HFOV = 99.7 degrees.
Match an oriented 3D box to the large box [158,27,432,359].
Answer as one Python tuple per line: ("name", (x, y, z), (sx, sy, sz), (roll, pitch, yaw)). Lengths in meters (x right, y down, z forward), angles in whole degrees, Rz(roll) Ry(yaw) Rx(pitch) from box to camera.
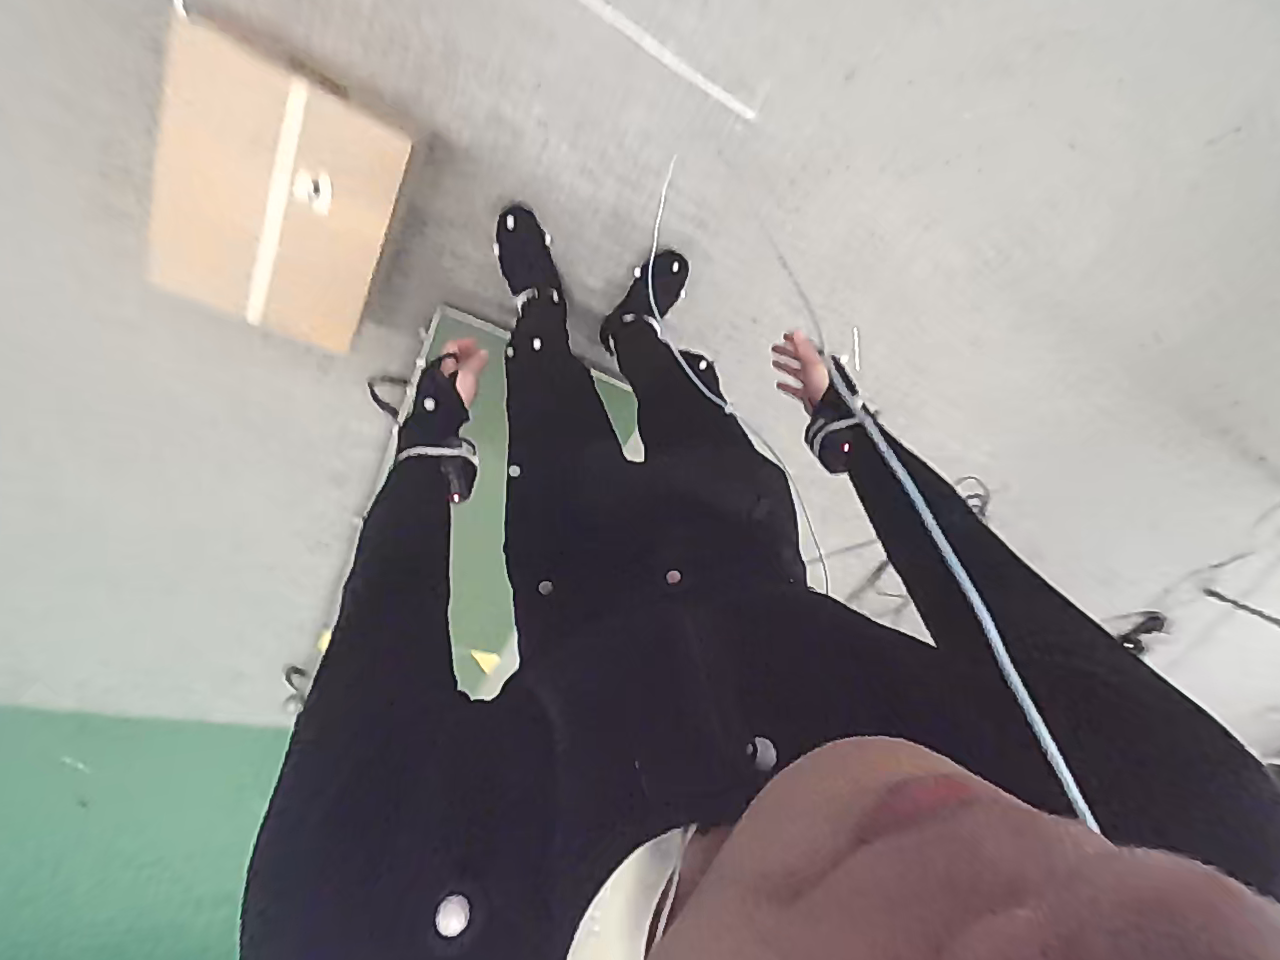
("large box", (-0.616, -0.509, 1.006), (0.320, 0.320, 0.408), (19, 119, -26))
